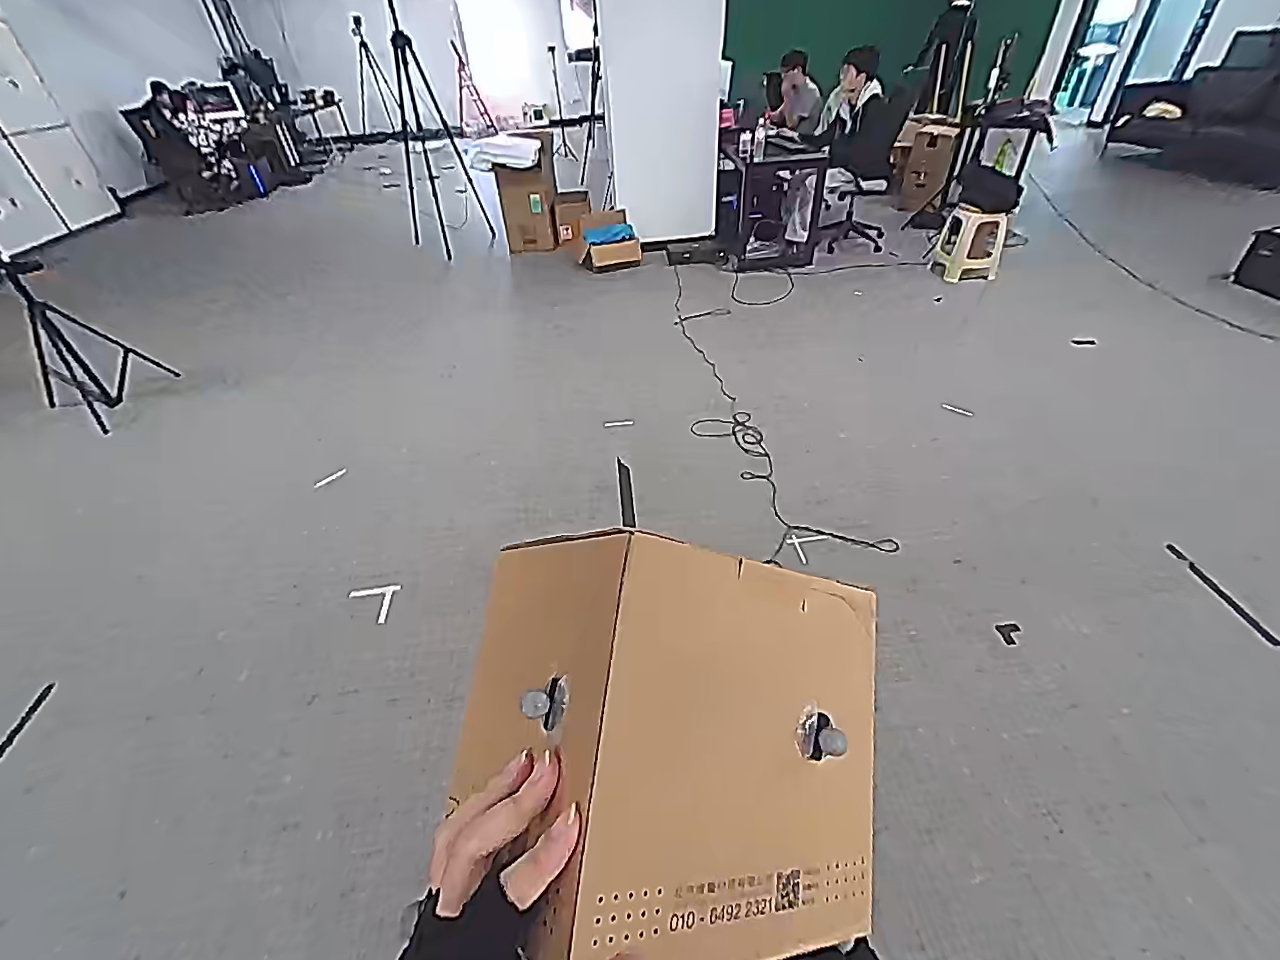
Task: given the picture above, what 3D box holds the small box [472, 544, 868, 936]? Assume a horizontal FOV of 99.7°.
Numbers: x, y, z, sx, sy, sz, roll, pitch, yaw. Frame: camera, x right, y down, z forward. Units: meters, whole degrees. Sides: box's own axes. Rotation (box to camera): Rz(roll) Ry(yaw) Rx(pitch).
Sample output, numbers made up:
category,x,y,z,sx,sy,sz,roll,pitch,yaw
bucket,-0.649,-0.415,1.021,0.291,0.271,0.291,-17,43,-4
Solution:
category,x,y,z,sx,sy,sz,roll,pitch,yaw
small box,0.013,0.140,0.330,0.168,0.179,0.176,17,72,-29
